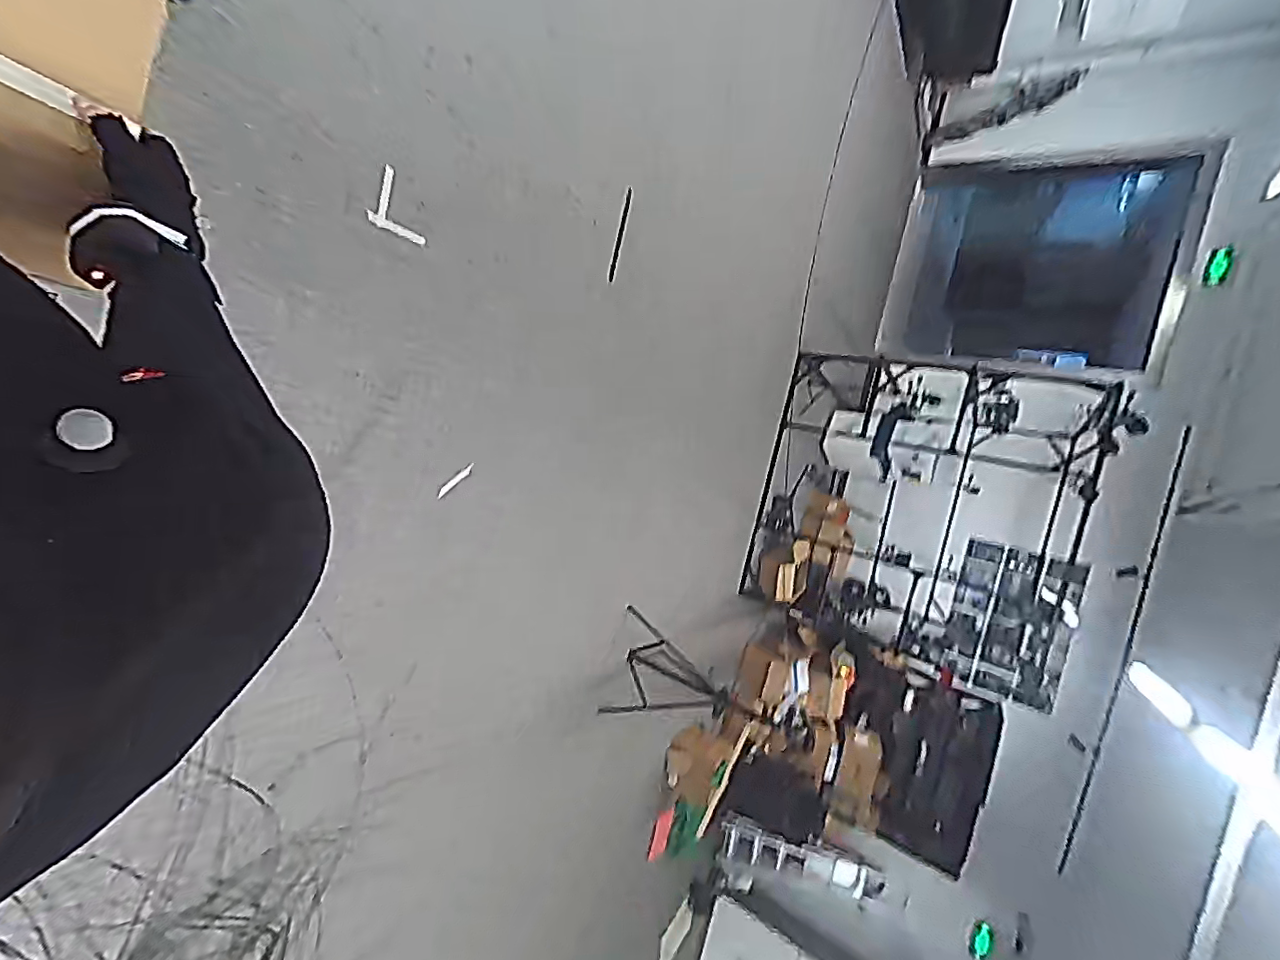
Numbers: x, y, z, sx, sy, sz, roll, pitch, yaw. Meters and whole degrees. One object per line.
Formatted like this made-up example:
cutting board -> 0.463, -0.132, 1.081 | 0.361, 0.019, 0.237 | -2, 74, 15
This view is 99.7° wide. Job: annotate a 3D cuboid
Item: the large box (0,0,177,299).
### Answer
large box -> -0.717, -0.379, 0.442 | 0.408, 0.320, 0.320 | 13, 93, -60
